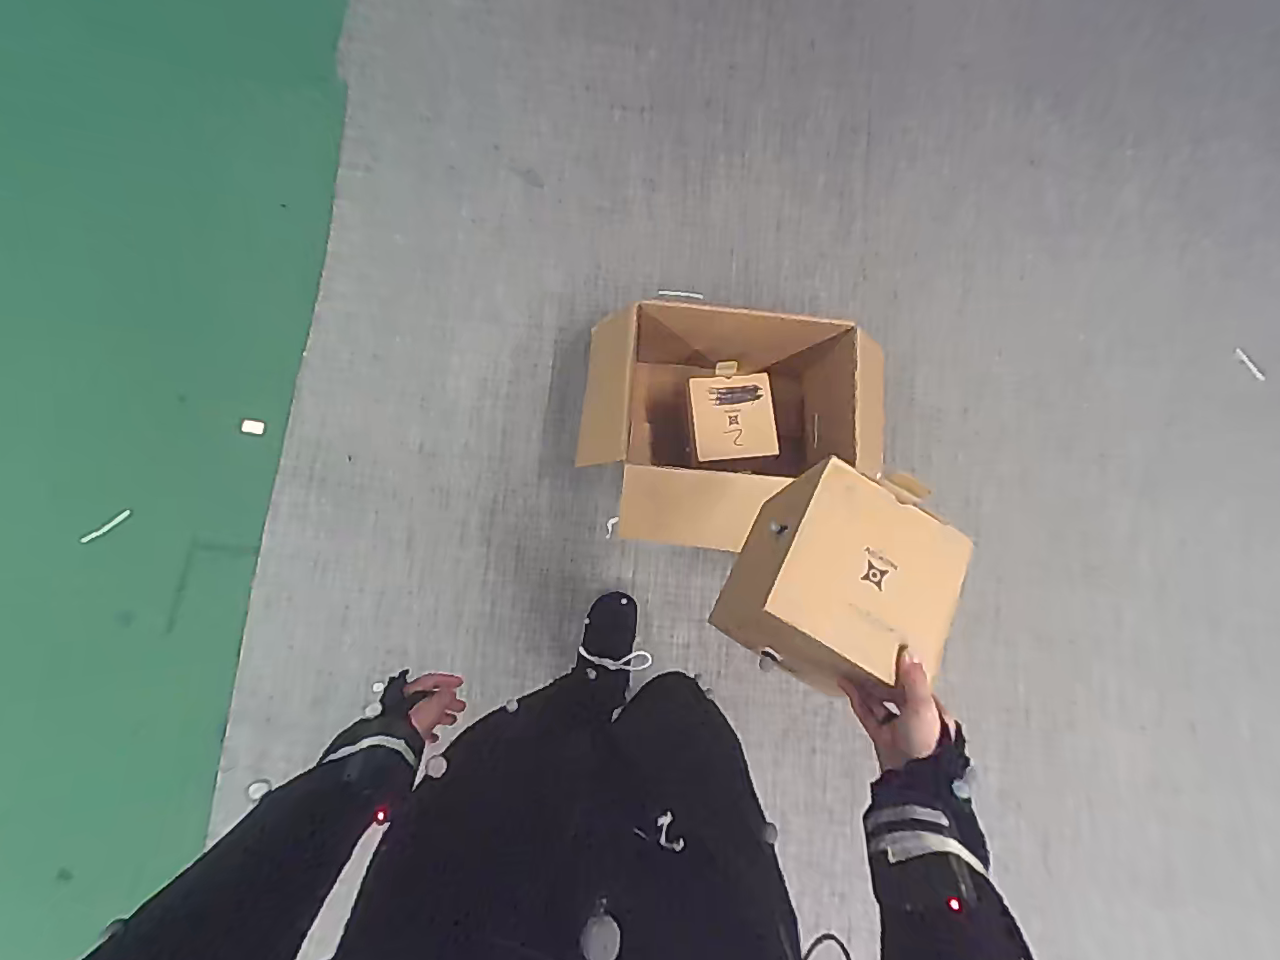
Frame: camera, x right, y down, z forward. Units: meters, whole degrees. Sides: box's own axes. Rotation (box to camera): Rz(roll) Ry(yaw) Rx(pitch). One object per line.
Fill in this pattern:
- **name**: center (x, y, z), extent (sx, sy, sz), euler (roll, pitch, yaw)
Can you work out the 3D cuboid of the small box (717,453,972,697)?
- **small box**: center (0.204, 0.107, 0.575), extent (0.168, 0.176, 0.179), euler (31, 67, 0)
